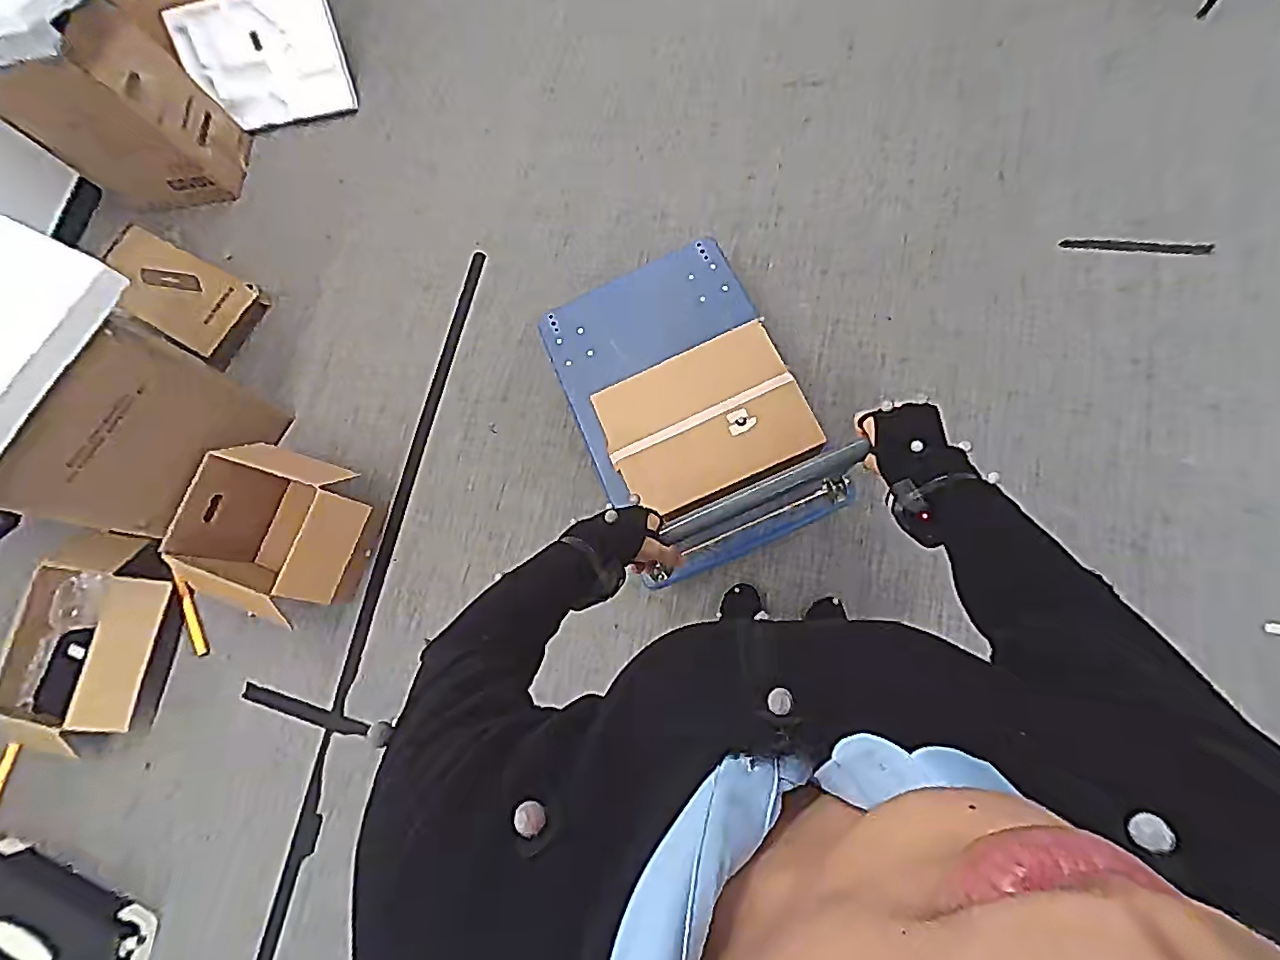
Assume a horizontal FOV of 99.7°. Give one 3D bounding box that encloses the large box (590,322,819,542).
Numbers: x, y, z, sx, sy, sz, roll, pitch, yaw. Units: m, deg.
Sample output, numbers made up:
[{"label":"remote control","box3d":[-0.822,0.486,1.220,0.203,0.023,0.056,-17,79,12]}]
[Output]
[{"label":"large box","box3d":[0.147,-0.090,1.273,0.408,0.320,0.320,-24,74,3]}]
